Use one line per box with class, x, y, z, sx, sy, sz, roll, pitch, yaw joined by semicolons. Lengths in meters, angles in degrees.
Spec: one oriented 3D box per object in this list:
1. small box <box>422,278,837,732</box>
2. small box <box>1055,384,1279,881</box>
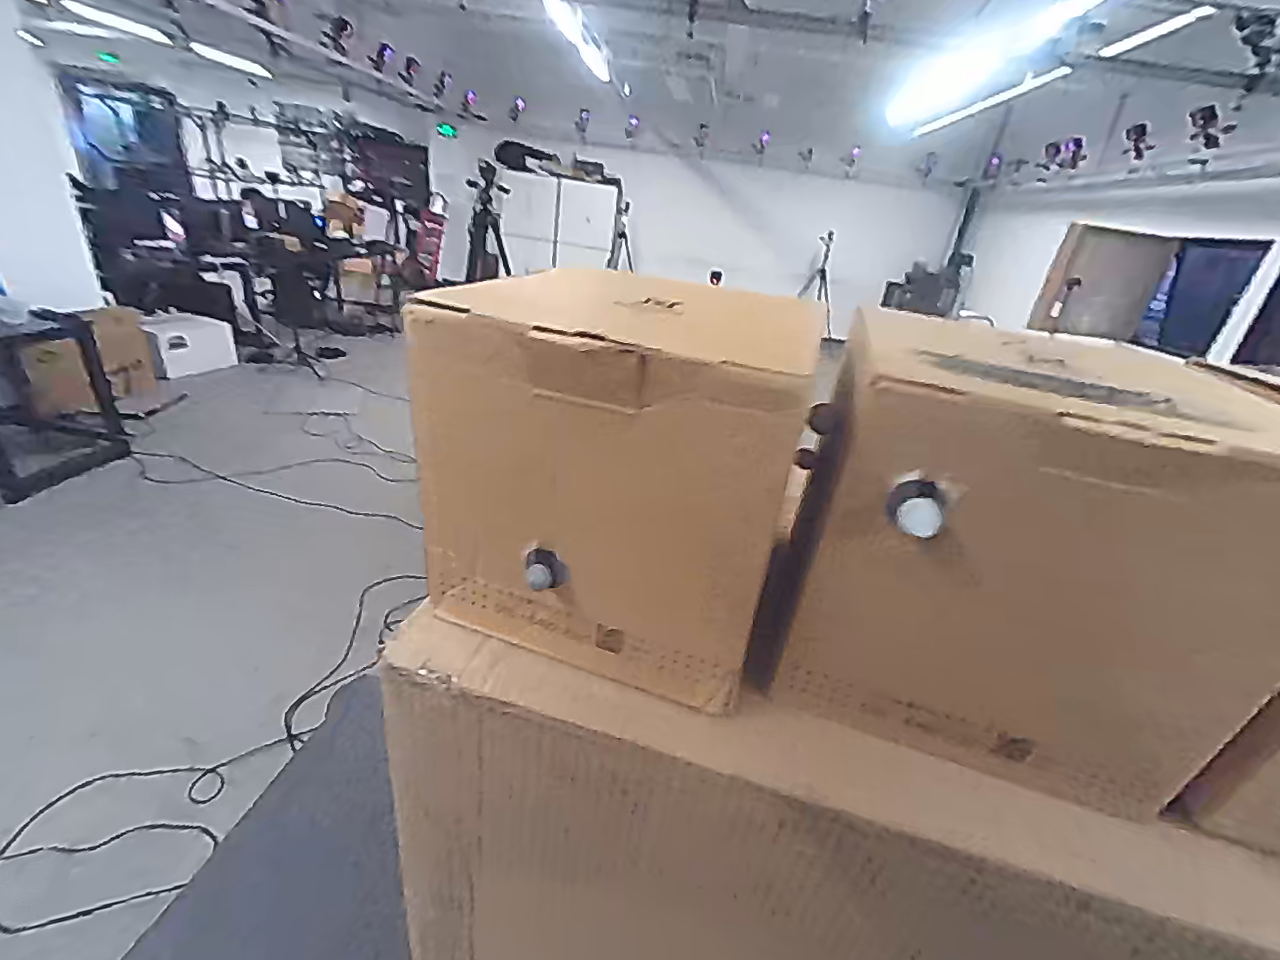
small box;0.003;-0.004;0.305;0.168;0.176;0.179;15;30;13
small box;0.350;0.075;0.254;0.168;0.176;0.179;15;29;7
